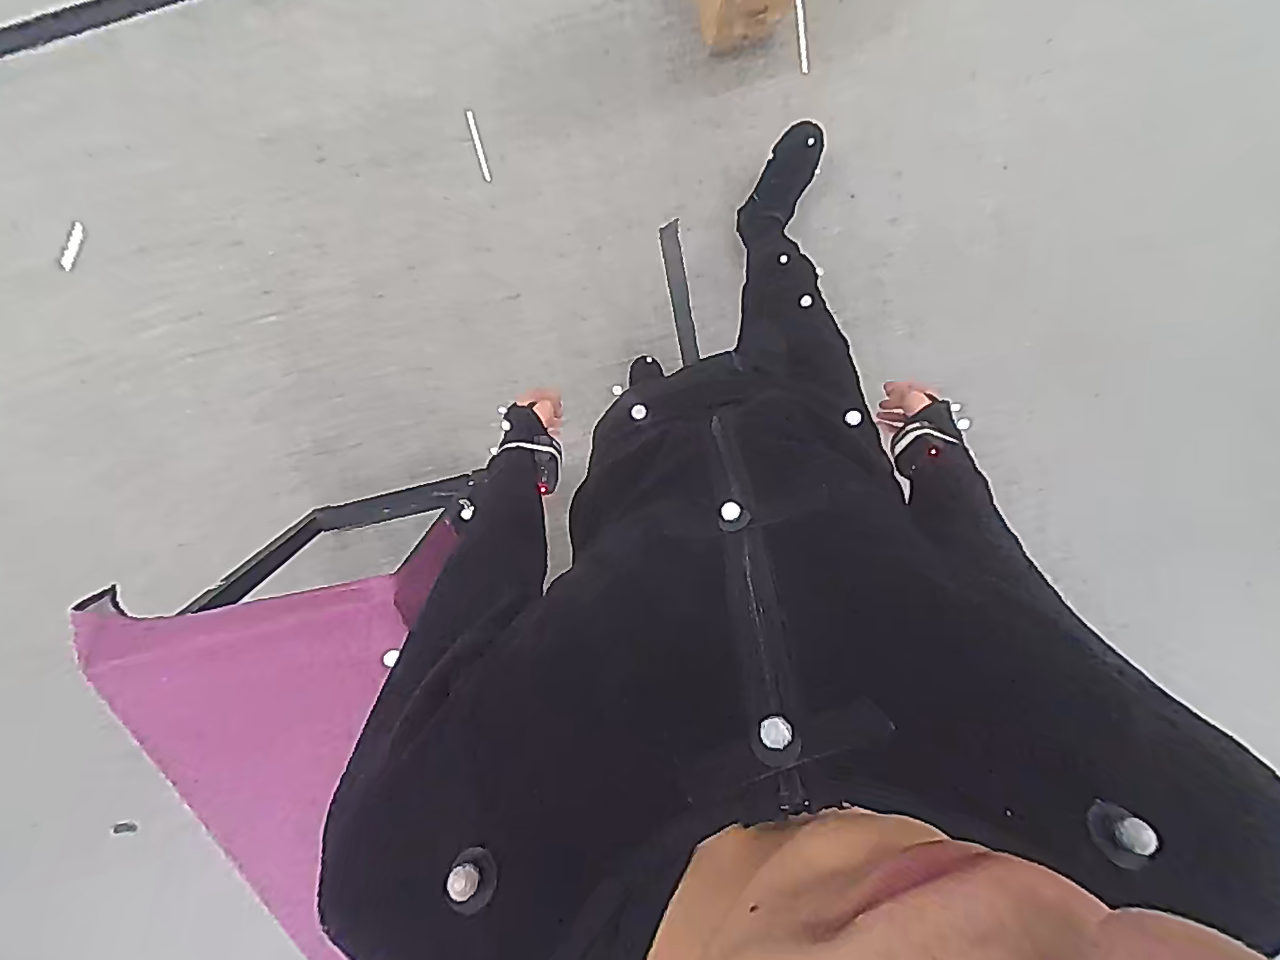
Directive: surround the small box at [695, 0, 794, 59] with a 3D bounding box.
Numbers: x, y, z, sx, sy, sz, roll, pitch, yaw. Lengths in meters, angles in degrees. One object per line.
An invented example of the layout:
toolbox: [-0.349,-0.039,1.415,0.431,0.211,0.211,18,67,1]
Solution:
small box: [0.211,-1.050,1.152,0.168,0.176,0.179,-16,112,5]
